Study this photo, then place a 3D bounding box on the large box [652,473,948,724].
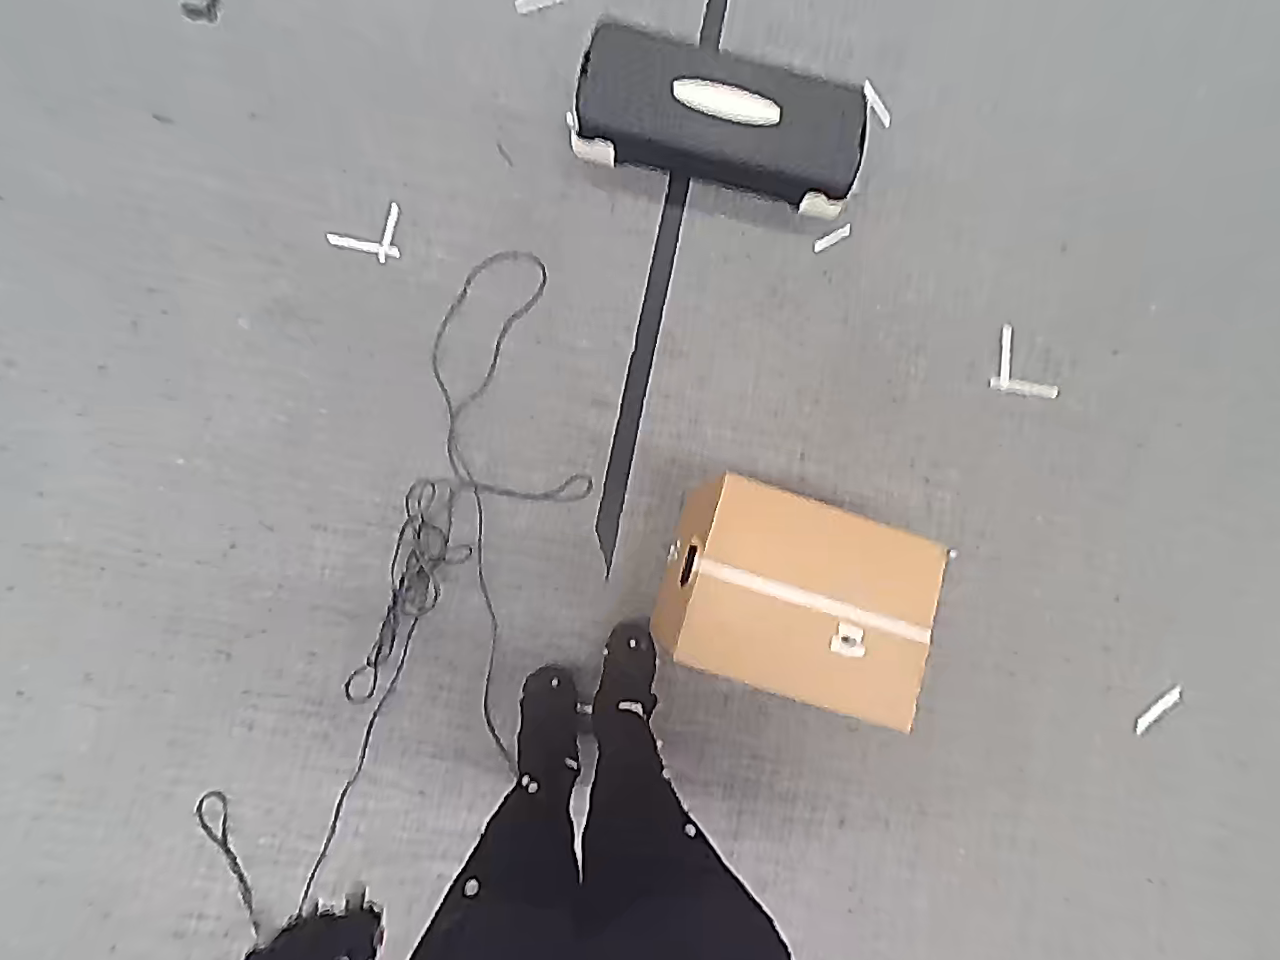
[{"bbox_3d":[0.268,0.209,1.012,0.408,0.320,0.320,18,81,-4],"label":"large box"}]
